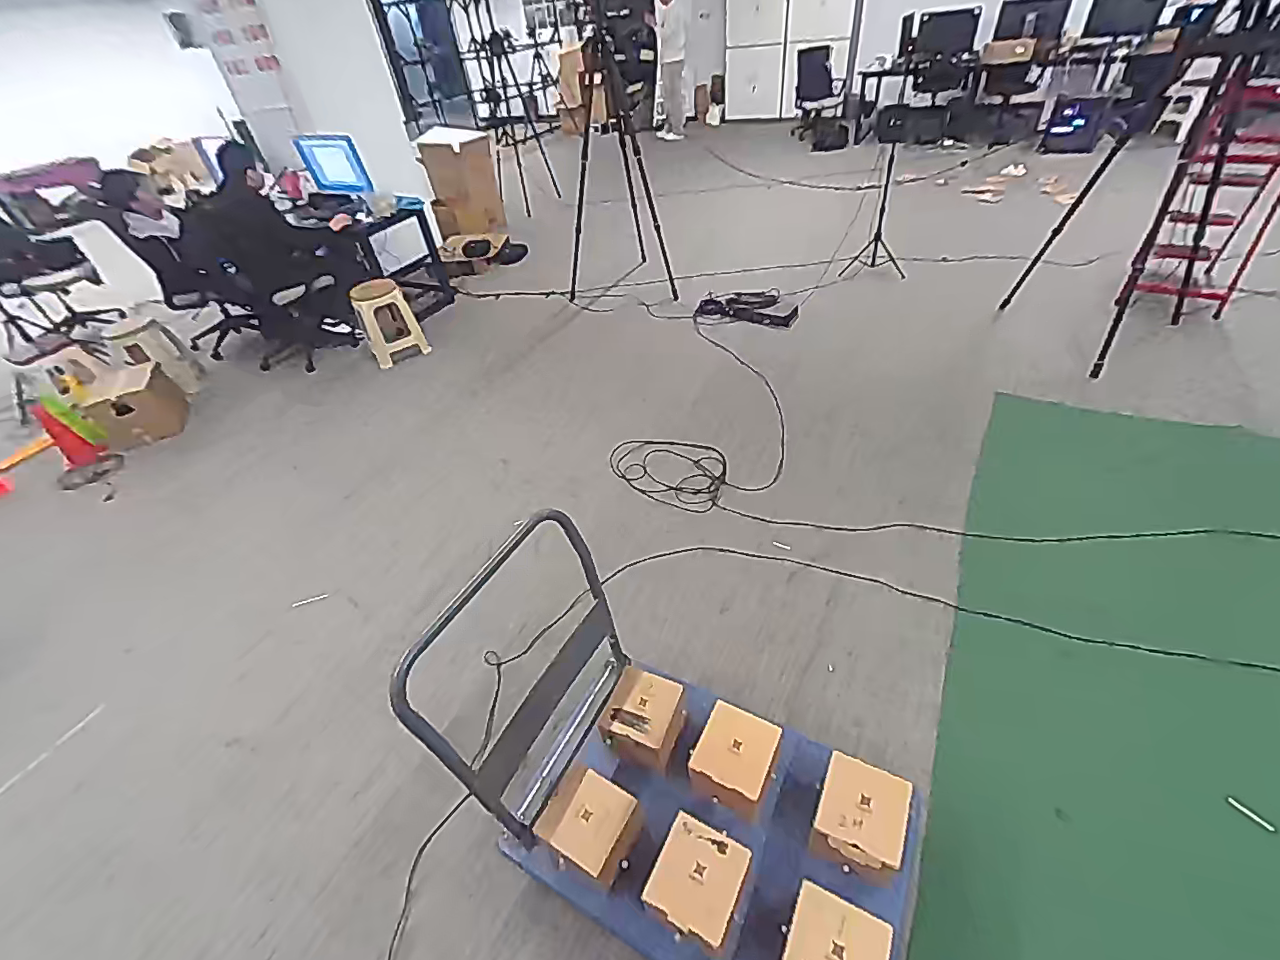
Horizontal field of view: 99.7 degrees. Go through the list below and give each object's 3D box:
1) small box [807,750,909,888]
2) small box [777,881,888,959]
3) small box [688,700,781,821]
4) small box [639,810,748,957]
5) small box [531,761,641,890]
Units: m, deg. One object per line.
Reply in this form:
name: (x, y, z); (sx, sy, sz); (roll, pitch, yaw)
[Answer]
small box: (0.472, 0.741, 1.185); (0.168, 0.176, 0.179); (15, 46, 25)
small box: (0.355, 0.921, 1.027); (0.168, 0.176, 0.179); (15, 46, 24)
small box: (0.226, 0.676, 1.303); (0.168, 0.176, 0.179); (17, 49, 25)
small box: (0.119, 0.843, 1.127); (0.168, 0.176, 0.179); (17, 47, 25)
small box: (-0.115, 0.787, 1.229); (0.179, 0.176, 0.168); (19, 48, 26)
